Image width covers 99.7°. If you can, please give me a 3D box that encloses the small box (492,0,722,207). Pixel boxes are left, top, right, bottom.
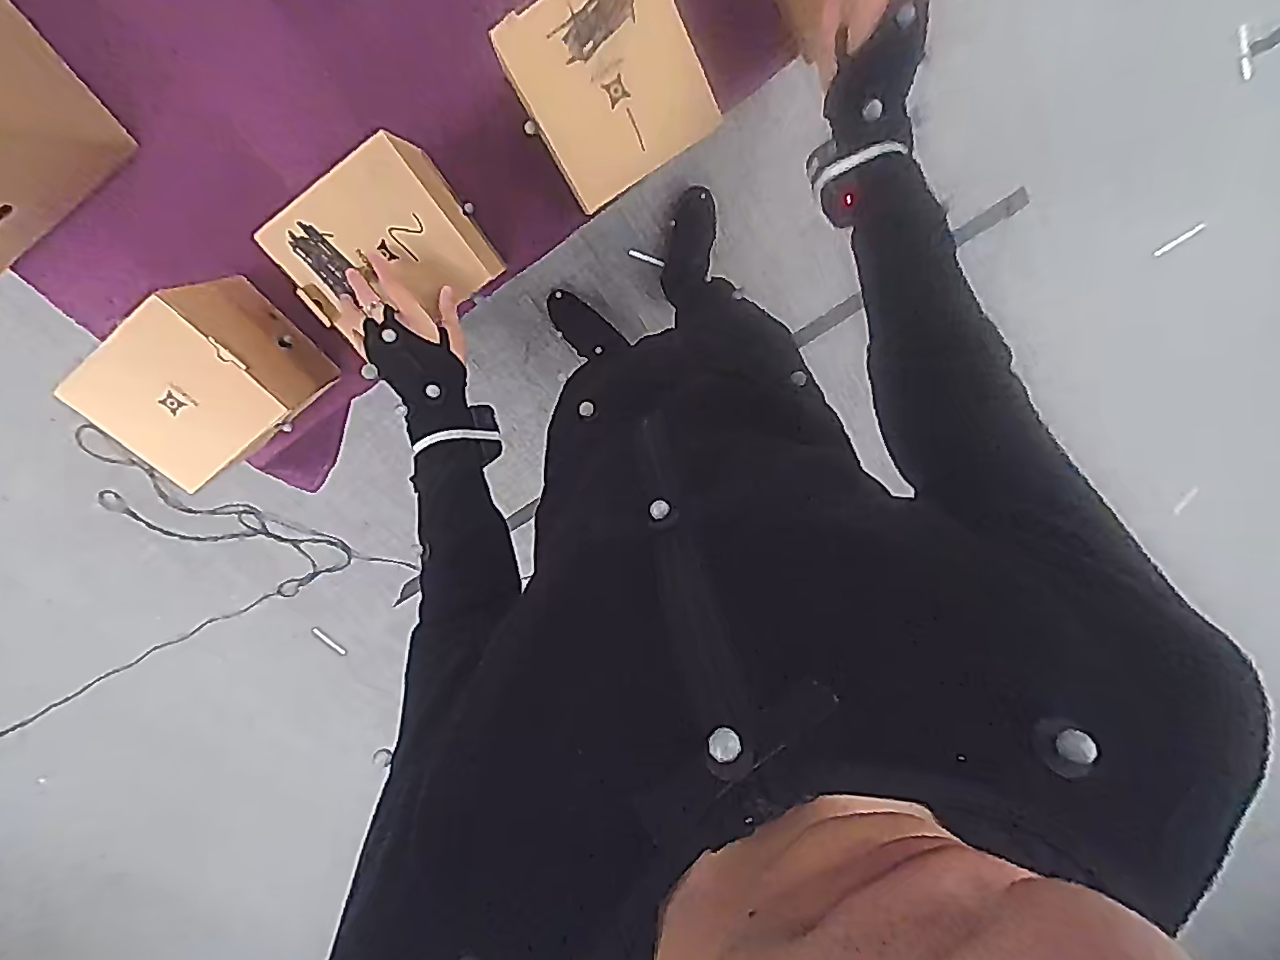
[{"bbox_3d":[-0.037,-0.423,0.594,0.168,0.176,0.179,-30,117,8],"label":"small box"}]

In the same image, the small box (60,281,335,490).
[{"bbox_3d":[-0.528,-0.125,0.678,0.179,0.176,0.168,-37,115,9],"label":"small box"}]

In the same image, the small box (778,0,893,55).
[{"bbox_3d":[0.227,-0.585,0.546,0.168,0.176,0.179,-35,115,11],"label":"small box"}]
